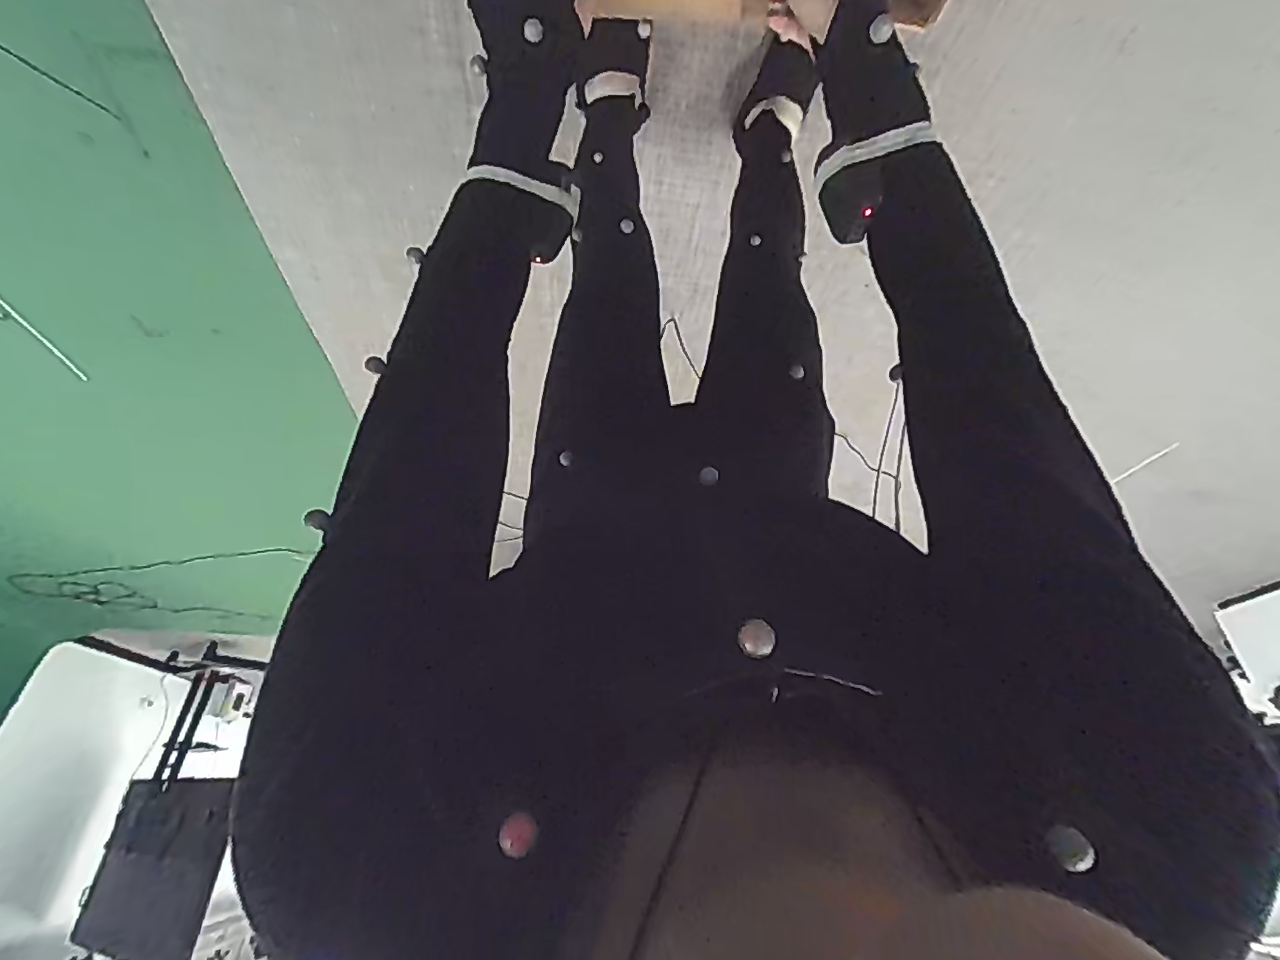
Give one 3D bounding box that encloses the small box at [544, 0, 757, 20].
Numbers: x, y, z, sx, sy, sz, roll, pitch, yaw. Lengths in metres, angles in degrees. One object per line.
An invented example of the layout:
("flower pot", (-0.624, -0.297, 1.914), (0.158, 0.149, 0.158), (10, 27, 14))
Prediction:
("small box", (0.006, -0.496, 0.446), (0.179, 0.176, 0.168), (-1, 132, -4))
